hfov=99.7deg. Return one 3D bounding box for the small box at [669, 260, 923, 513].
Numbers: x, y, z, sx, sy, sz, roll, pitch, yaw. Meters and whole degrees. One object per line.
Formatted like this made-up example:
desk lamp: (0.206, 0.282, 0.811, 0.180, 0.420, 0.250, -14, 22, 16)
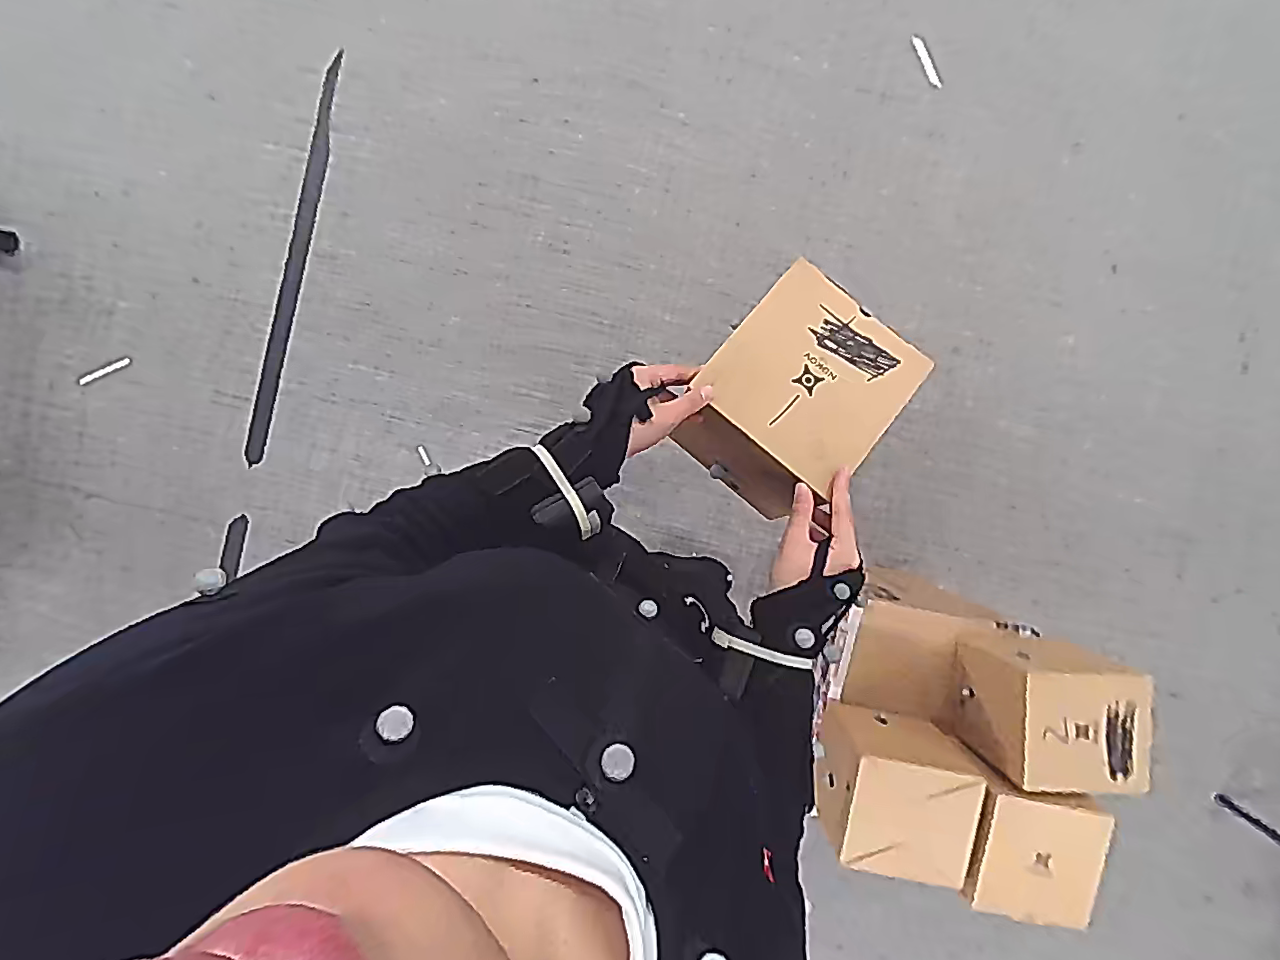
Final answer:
small box: (0.147, -0.085, 0.579, 0.168, 0.176, 0.179, 40, 80, 3)
